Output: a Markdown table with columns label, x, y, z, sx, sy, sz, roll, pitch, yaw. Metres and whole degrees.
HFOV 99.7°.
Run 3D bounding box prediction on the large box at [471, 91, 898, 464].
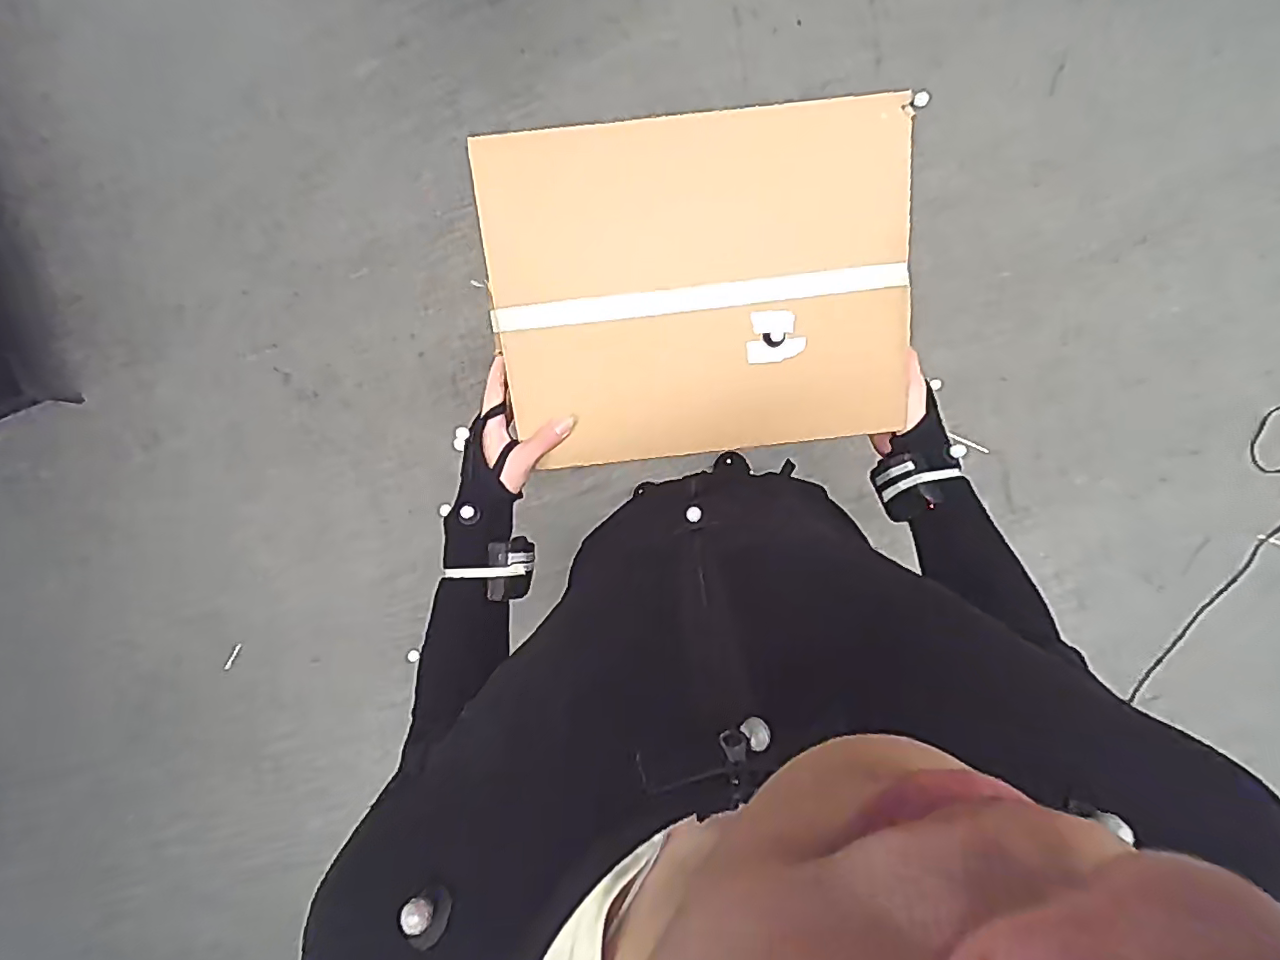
| label | x | y | z | sx | sy | sz | roll | pitch | yaw |
| --- | --- | --- | --- | --- | --- | --- | --- | --- | --- |
| large box | 0.049 | -0.226 | 0.678 | 0.408 | 0.320 | 0.320 | -7 | 106 | -1 |
